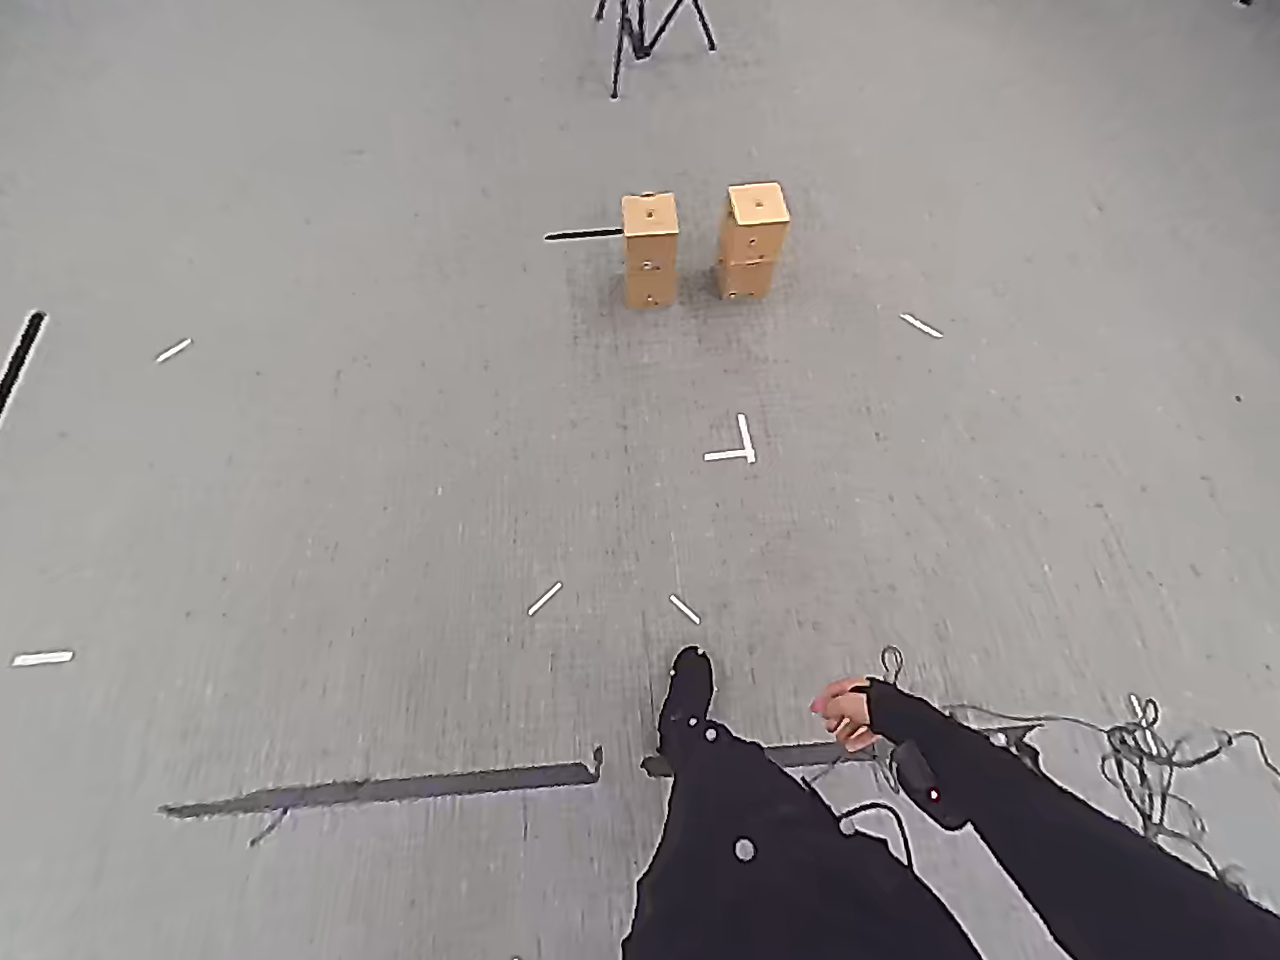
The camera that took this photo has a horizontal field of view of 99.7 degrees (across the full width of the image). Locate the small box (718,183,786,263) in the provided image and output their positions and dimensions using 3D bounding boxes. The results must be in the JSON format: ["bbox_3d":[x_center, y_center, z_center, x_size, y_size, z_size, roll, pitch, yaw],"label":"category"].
[{"bbox_3d":[0.358,-0.827,1.760,0.168,0.176,0.179,-7,66,-4],"label":"small box"}]

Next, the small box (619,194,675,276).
[{"bbox_3d":[0.019,-0.783,1.736,0.168,0.176,0.179,-5,66,-2],"label":"small box"}]

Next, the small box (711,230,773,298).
[{"bbox_3d":[0.354,-0.761,1.908,0.168,0.176,0.179,-7,66,-4],"label":"small box"}]

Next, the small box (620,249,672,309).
[{"bbox_3d":[0.016,-0.722,1.888,0.168,0.176,0.179,-4,67,-2],"label":"small box"}]
